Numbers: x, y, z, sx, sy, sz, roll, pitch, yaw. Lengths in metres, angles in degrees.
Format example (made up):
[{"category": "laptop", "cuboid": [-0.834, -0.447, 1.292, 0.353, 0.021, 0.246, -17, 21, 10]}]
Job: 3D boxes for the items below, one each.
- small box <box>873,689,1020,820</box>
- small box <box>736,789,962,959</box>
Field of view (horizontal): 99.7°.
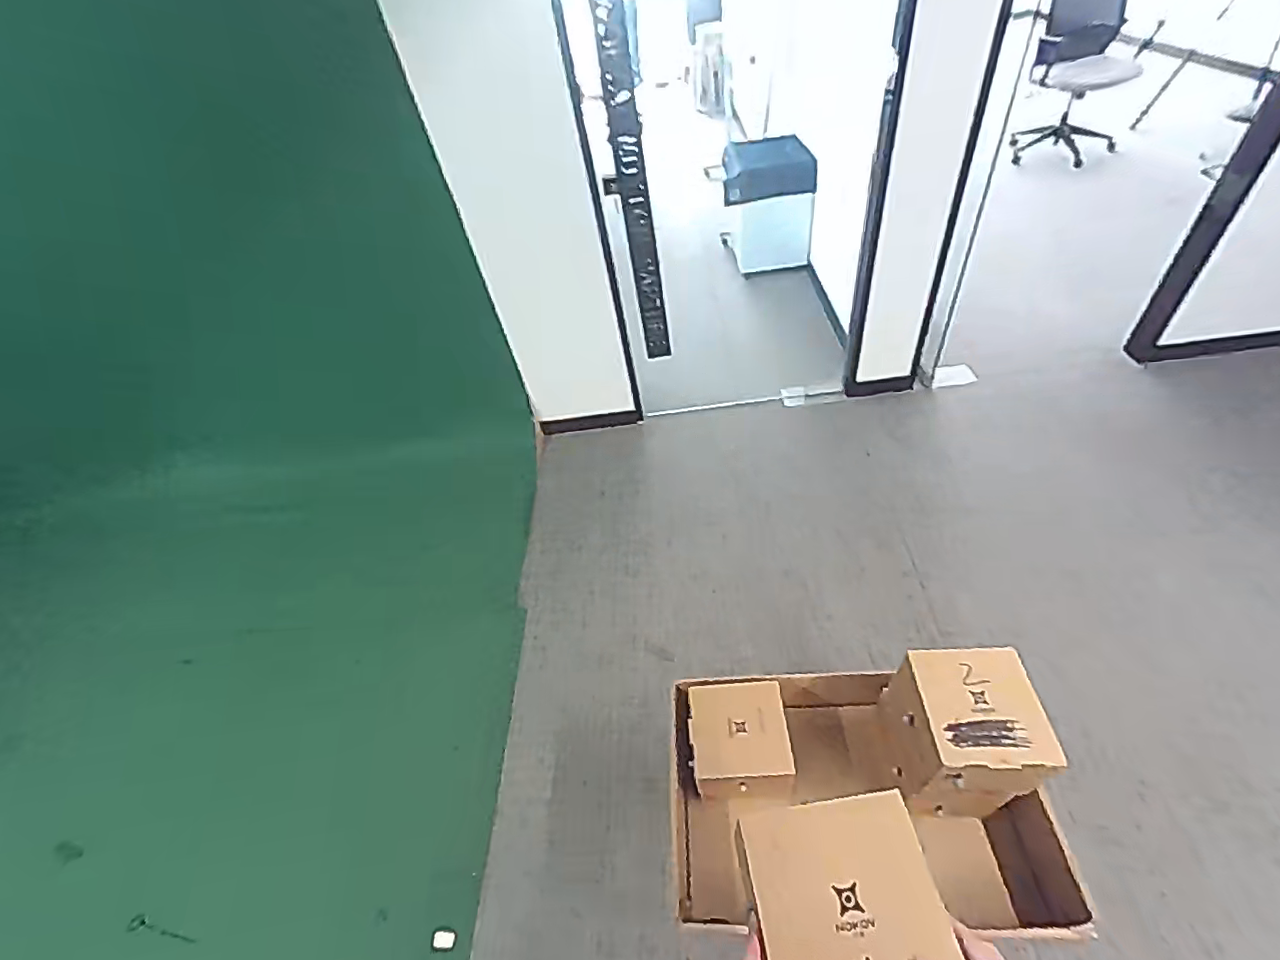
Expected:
[{"category": "small box", "cuboid": [0.541, 0.500, 0.987, 0.168, 0.176, 0.179, -4, 47, 7]}, {"category": "small box", "cuboid": [0.195, 0.436, 0.544, 0.168, 0.176, 0.179, -10, 50, 1]}]
